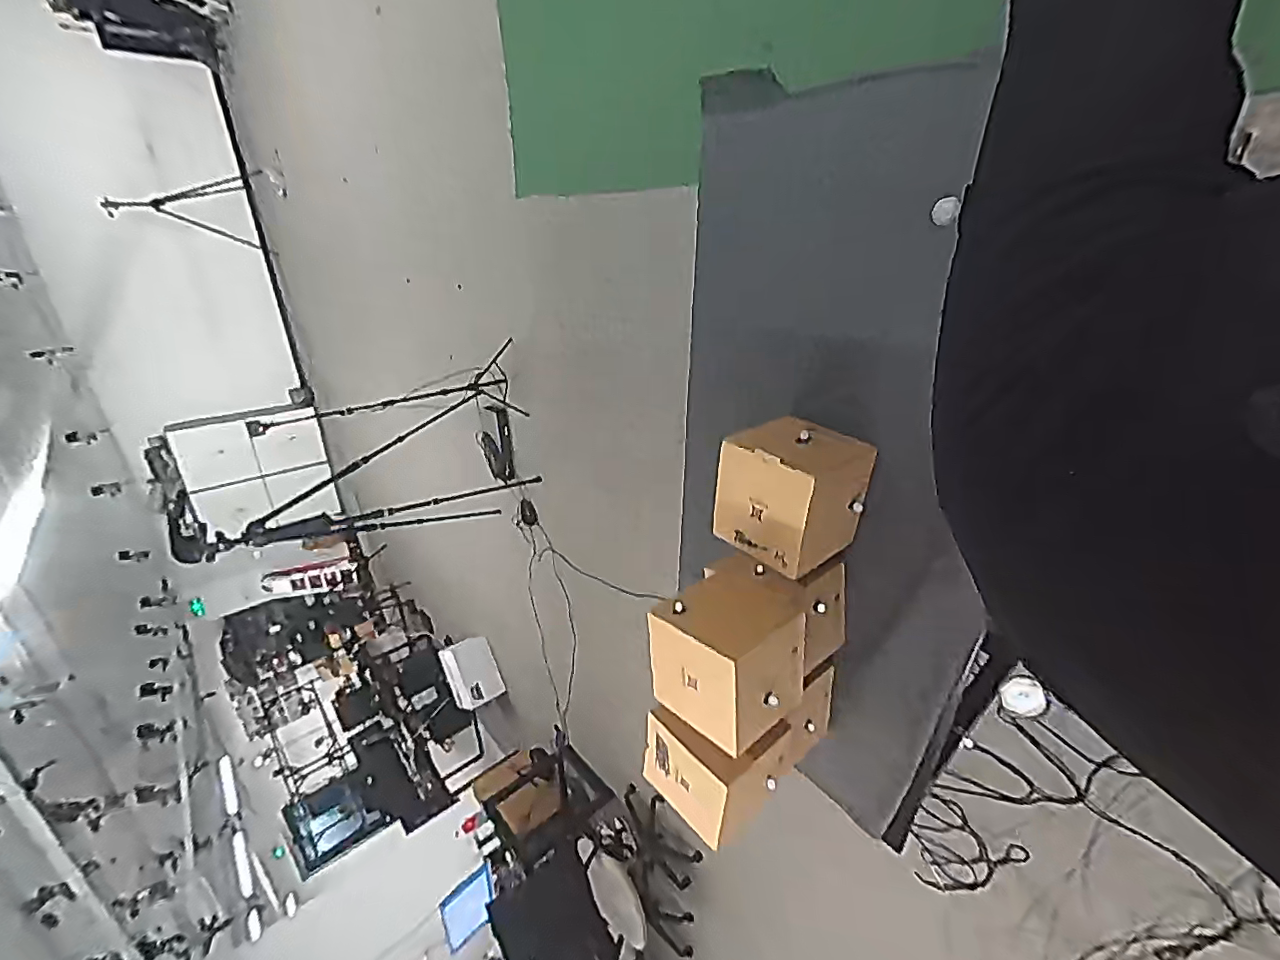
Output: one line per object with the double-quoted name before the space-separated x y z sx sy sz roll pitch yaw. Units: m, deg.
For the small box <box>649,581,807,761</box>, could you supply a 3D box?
"small box" 0.137 0.276 0.830 0.179 0.176 0.168 17 117 48
